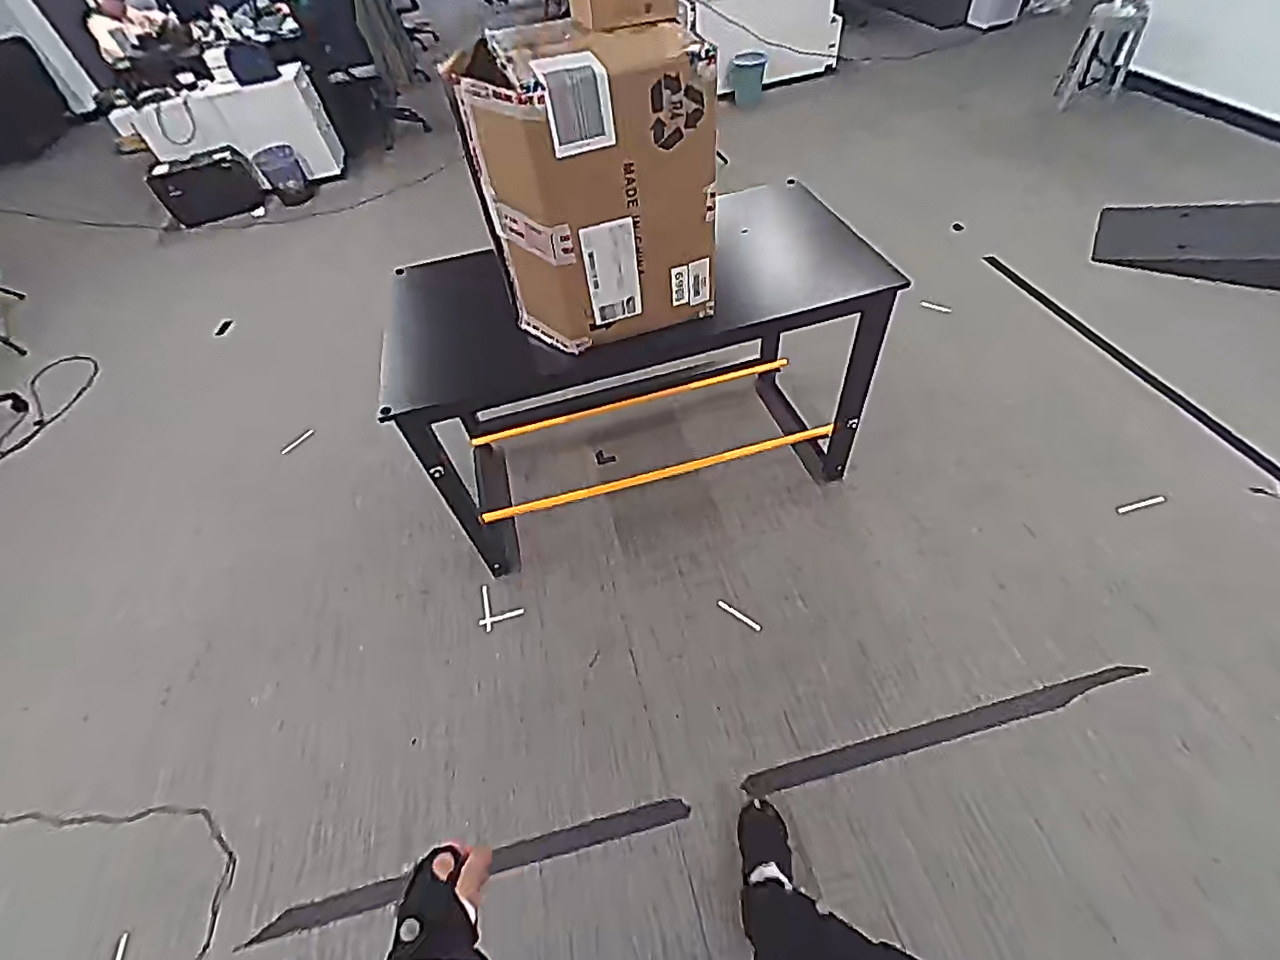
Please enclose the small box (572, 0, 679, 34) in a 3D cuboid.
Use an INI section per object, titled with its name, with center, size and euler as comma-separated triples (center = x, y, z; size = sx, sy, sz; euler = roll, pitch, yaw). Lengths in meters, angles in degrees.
[small box]
center = -0.035, -0.923, 0.965
size = 0.168, 0.176, 0.179
euler = -17, 50, -8
